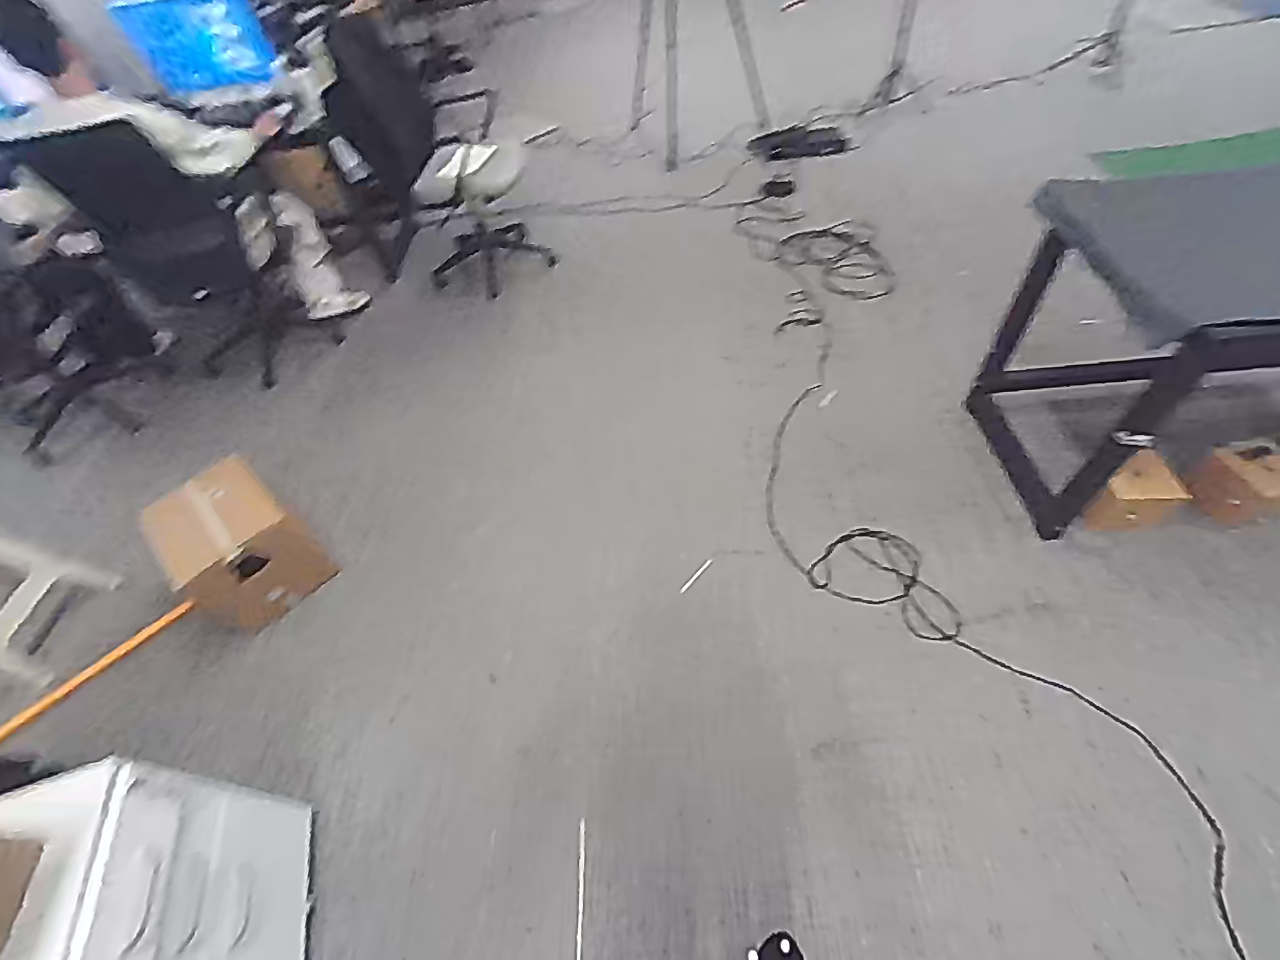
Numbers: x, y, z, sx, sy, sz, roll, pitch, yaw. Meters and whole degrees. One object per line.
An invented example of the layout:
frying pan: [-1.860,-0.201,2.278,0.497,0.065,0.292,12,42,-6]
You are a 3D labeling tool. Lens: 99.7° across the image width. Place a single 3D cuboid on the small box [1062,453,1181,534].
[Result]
small box: [1.365,0.045,1.549,0.168,0.176,0.179,-2,51,7]
